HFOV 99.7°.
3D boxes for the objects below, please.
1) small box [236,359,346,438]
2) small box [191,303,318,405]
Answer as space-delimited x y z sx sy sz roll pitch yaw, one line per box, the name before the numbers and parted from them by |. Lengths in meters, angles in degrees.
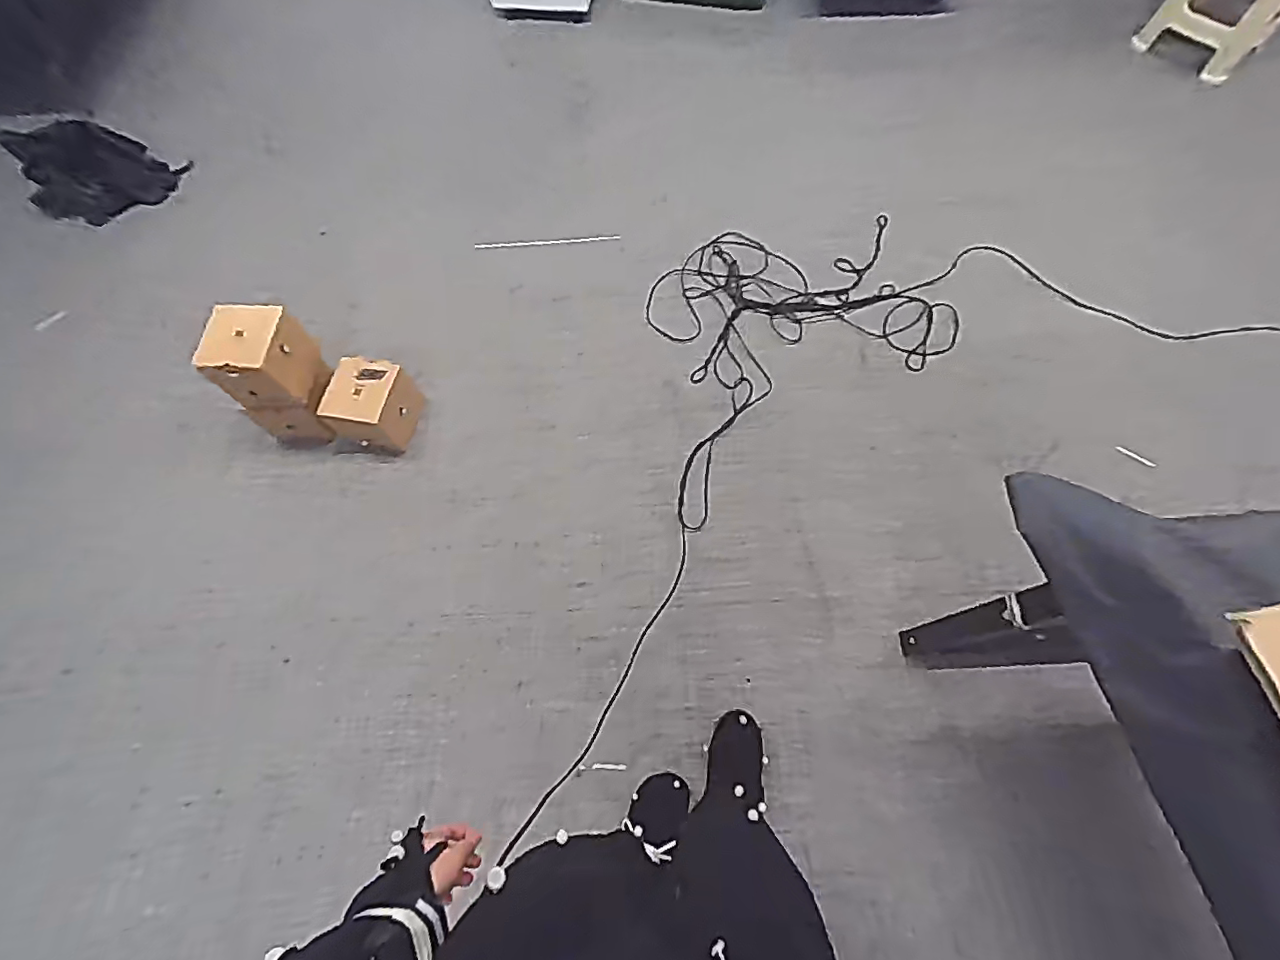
small box | -0.923 -0.224 1.451 0.168 0.176 0.179 1 68 2
small box | -0.915 -0.301 1.306 0.168 0.176 0.179 1 67 1
